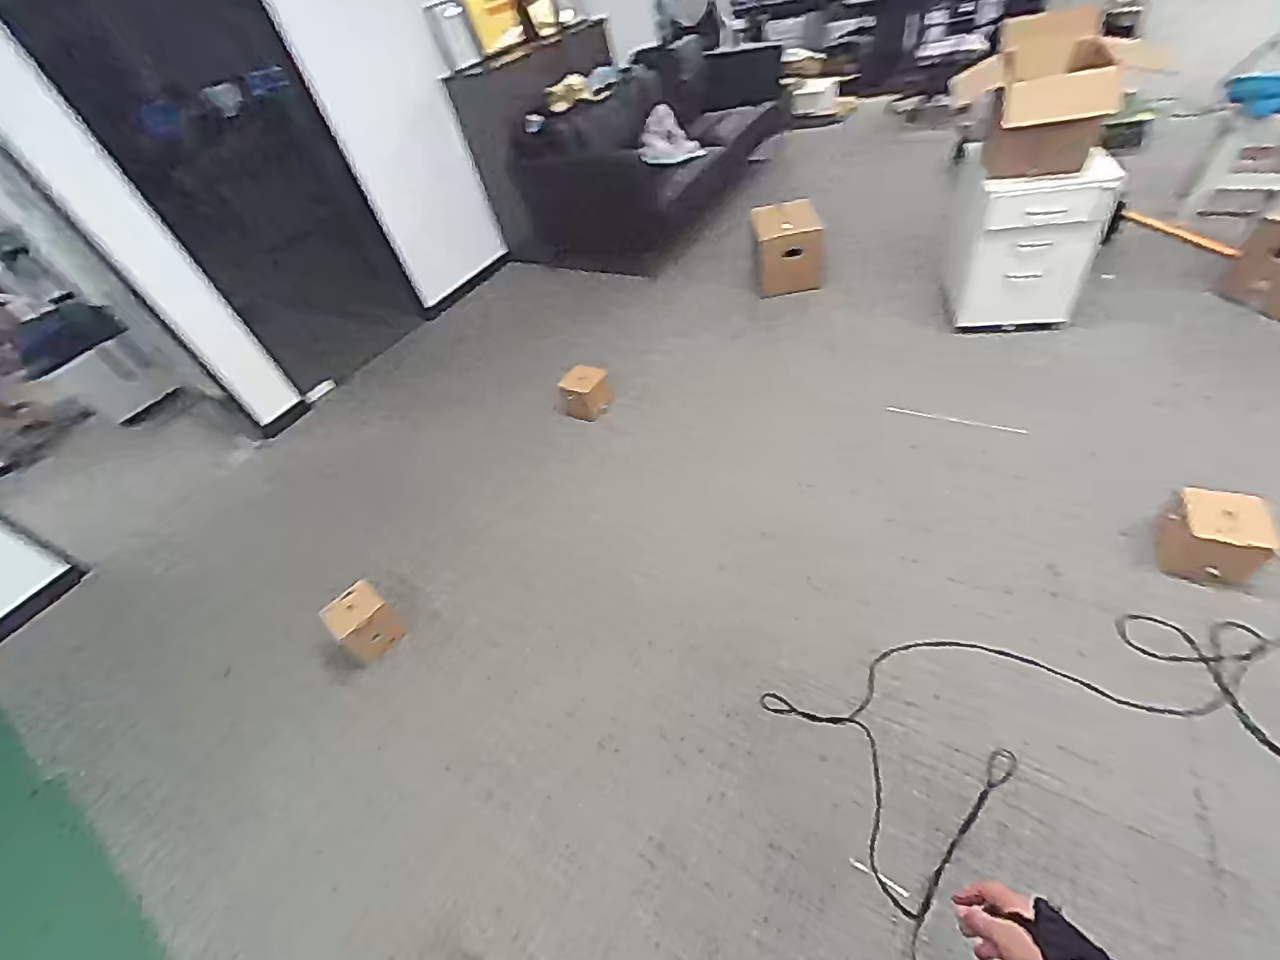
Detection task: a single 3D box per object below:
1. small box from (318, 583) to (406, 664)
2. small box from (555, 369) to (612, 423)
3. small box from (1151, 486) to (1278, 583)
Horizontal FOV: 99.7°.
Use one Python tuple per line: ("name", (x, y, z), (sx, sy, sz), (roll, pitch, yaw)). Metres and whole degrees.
("small box", (-0.917, 0.485, 1.798), (0.179, 0.176, 0.168), (29, 60, 36))
("small box", (-0.252, -0.382, 2.470), (0.179, 0.176, 0.168), (18, 55, 28))
("small box", (1.510, 0.144, 1.438), (0.168, 0.176, 0.179), (9, 51, 24))
